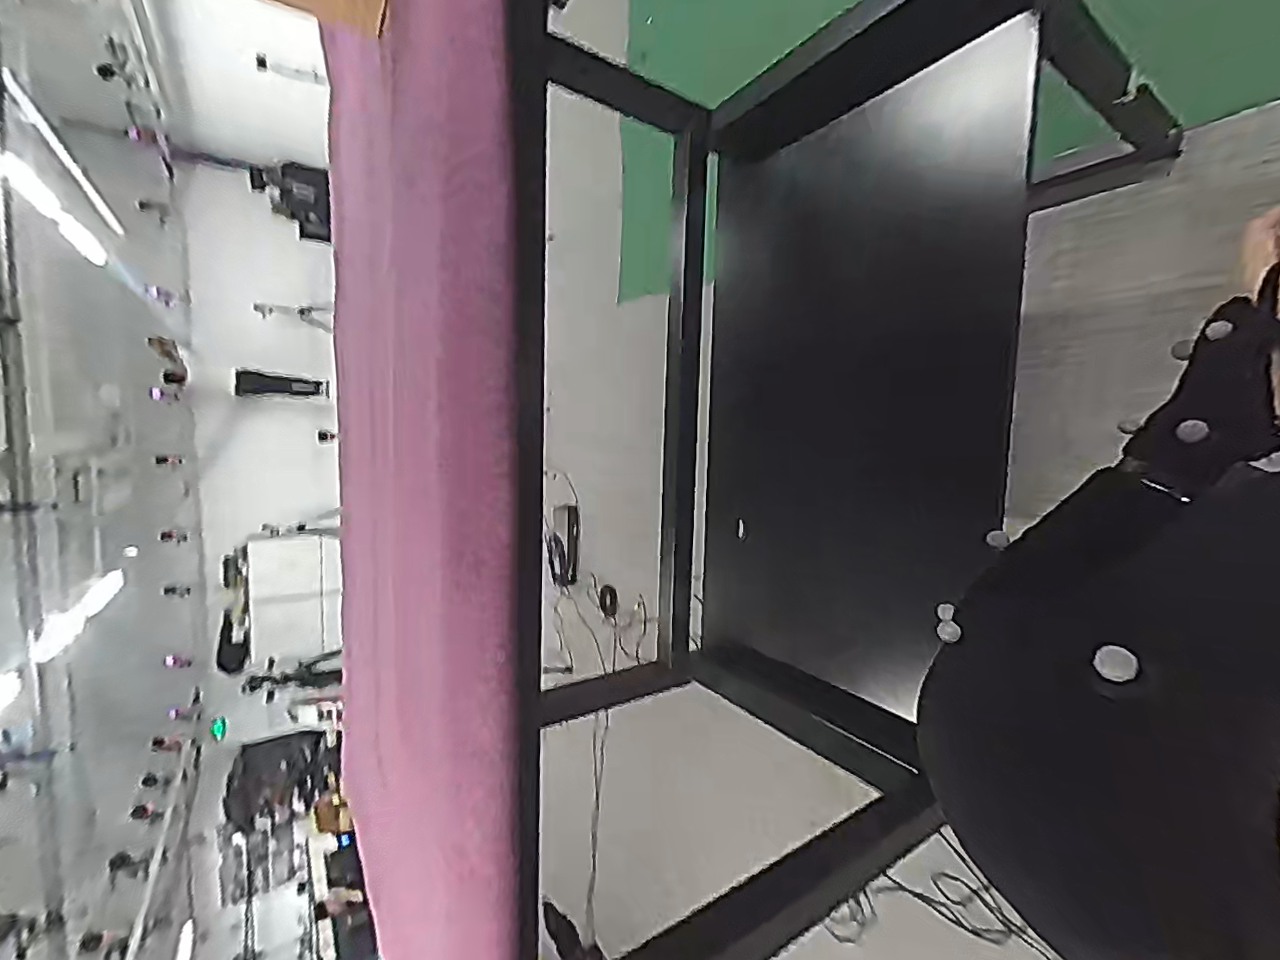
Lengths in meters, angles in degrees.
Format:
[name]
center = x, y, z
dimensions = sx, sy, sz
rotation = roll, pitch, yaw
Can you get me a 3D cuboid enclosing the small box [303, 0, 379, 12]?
[small box]
center = -0.247, -0.453, 0.345
dimensions = 0.168, 0.176, 0.179
rotation = 10, 102, 57
